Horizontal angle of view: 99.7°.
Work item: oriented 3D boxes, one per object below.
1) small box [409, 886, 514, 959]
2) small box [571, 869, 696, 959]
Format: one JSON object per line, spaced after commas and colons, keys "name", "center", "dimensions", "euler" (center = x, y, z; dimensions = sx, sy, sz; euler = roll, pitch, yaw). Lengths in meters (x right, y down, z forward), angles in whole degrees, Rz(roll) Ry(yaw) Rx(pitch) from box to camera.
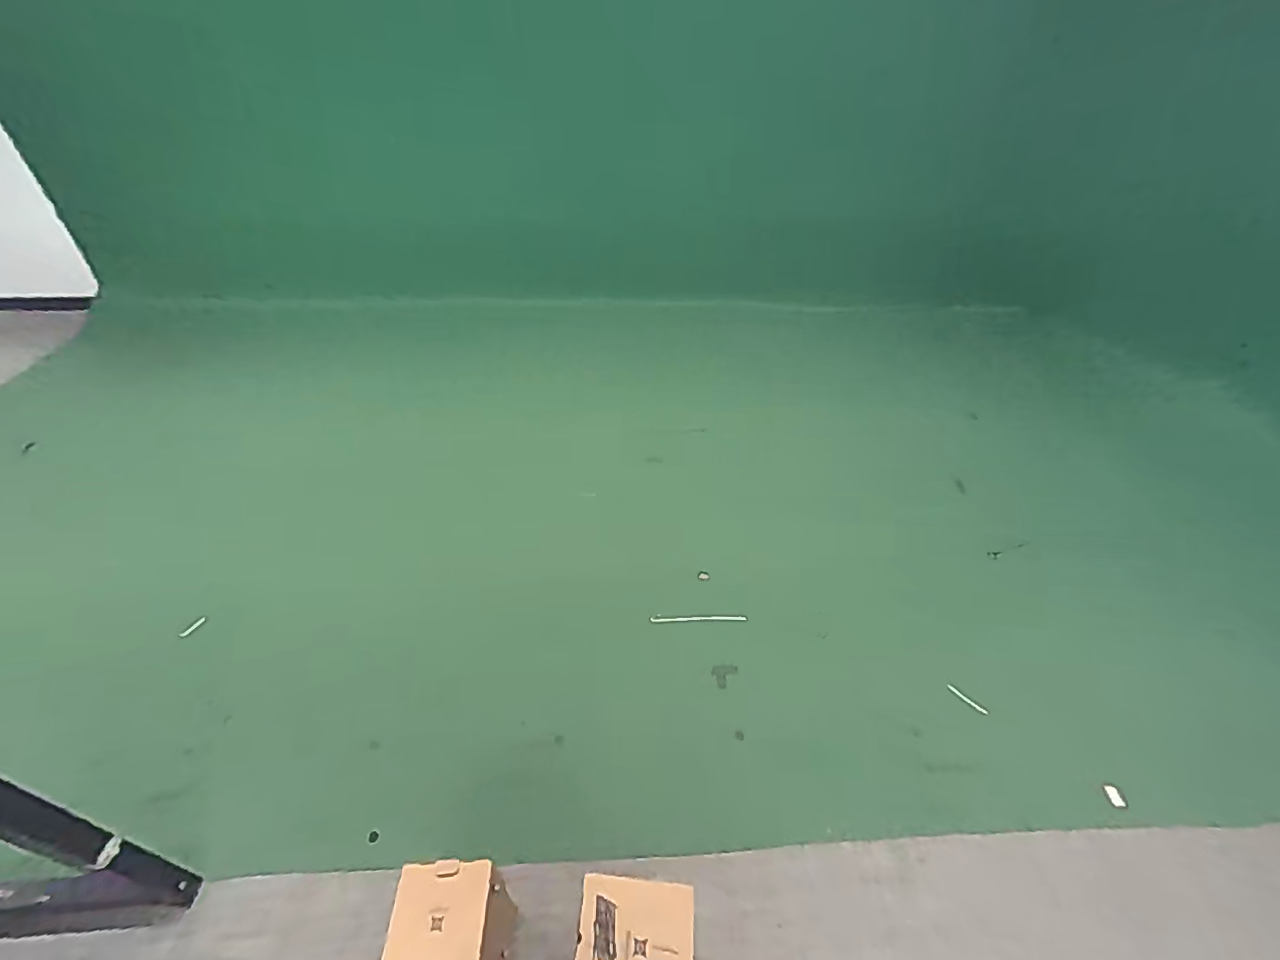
{"name": "small box", "center": [-0.352, 0.943, 1.083], "dimensions": [0.168, 0.176, 0.179], "euler": [-2, 42, -4]}
{"name": "small box", "center": [-0.009, 0.731, 0.835], "dimensions": [0.179, 0.176, 0.168], "euler": [5, 42, 3]}
